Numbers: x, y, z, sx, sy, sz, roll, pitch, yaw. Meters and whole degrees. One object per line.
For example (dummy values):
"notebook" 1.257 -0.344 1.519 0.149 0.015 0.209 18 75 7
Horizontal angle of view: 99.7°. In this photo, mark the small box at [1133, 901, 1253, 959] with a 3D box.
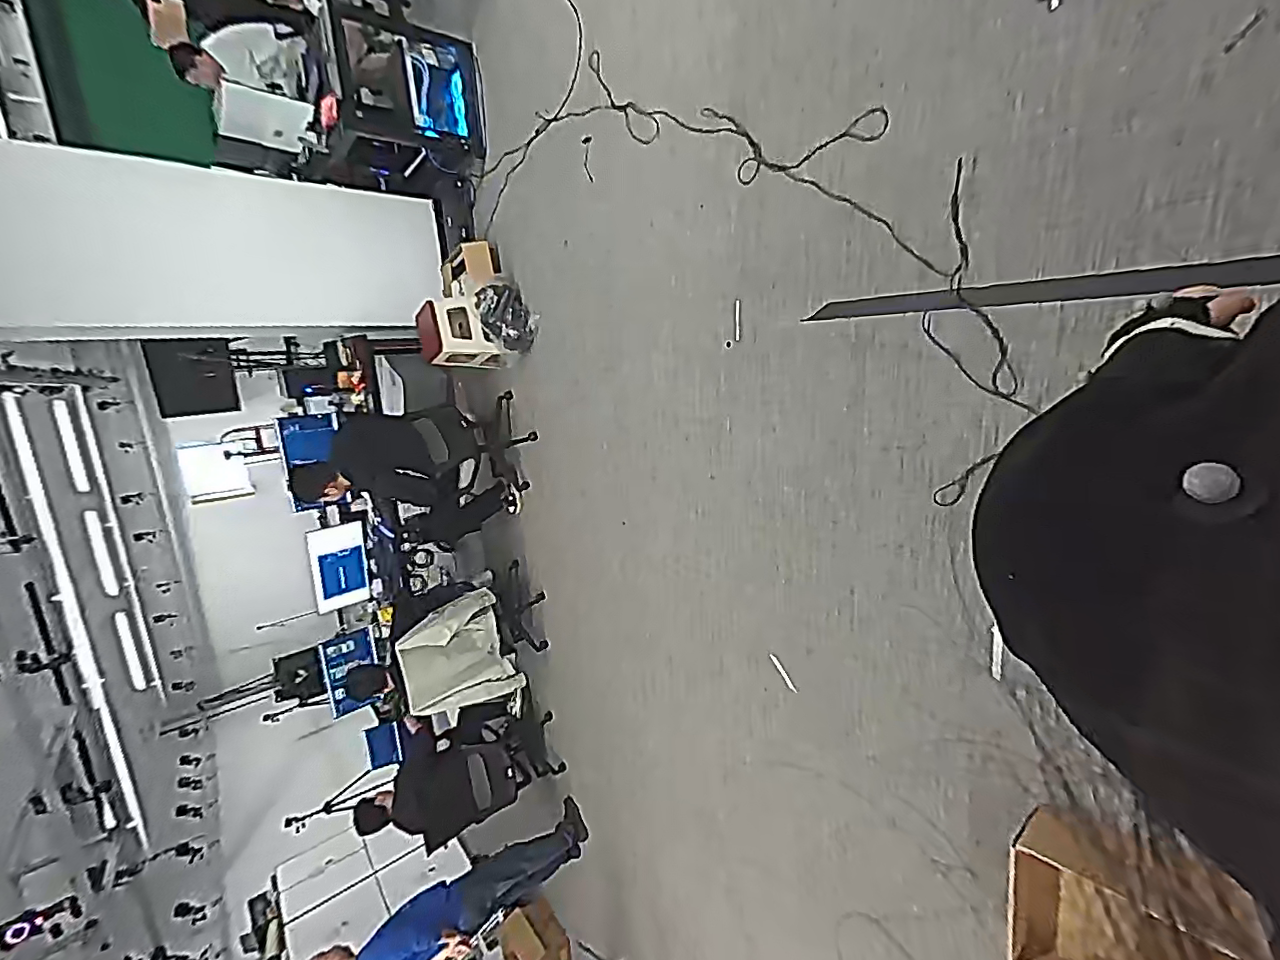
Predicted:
"small box" 1.179 1.068 1.150 0.168 0.176 0.179 -1 99 51
